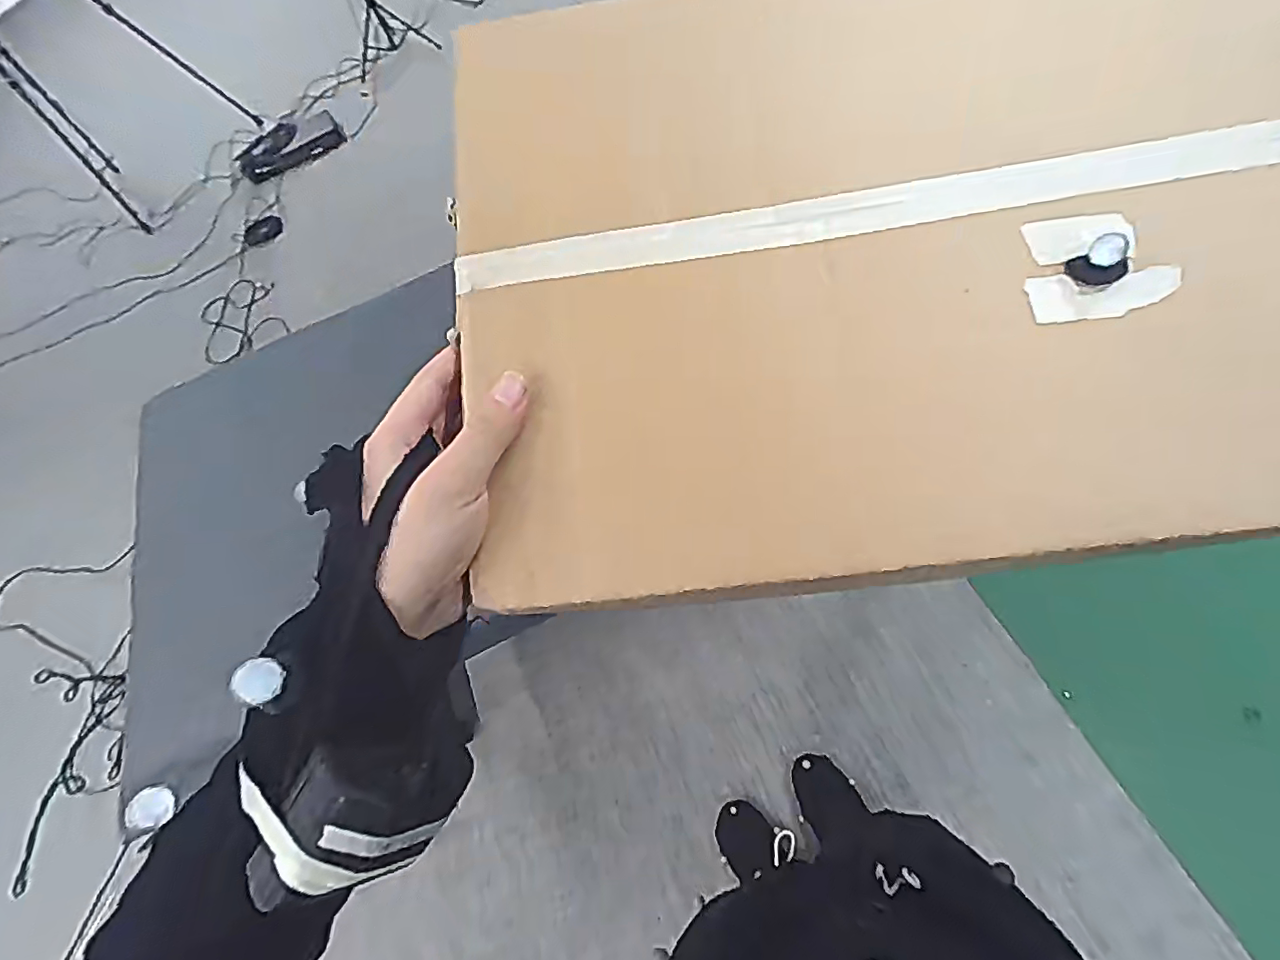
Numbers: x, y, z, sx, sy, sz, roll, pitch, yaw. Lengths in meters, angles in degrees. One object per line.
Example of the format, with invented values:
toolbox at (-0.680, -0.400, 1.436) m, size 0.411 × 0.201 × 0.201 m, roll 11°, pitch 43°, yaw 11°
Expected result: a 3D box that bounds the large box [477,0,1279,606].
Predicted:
large box at (0.130, -0.089, 0.402) m, size 0.408 × 0.320 × 0.320 m, roll -7°, pitch 76°, yaw 3°
